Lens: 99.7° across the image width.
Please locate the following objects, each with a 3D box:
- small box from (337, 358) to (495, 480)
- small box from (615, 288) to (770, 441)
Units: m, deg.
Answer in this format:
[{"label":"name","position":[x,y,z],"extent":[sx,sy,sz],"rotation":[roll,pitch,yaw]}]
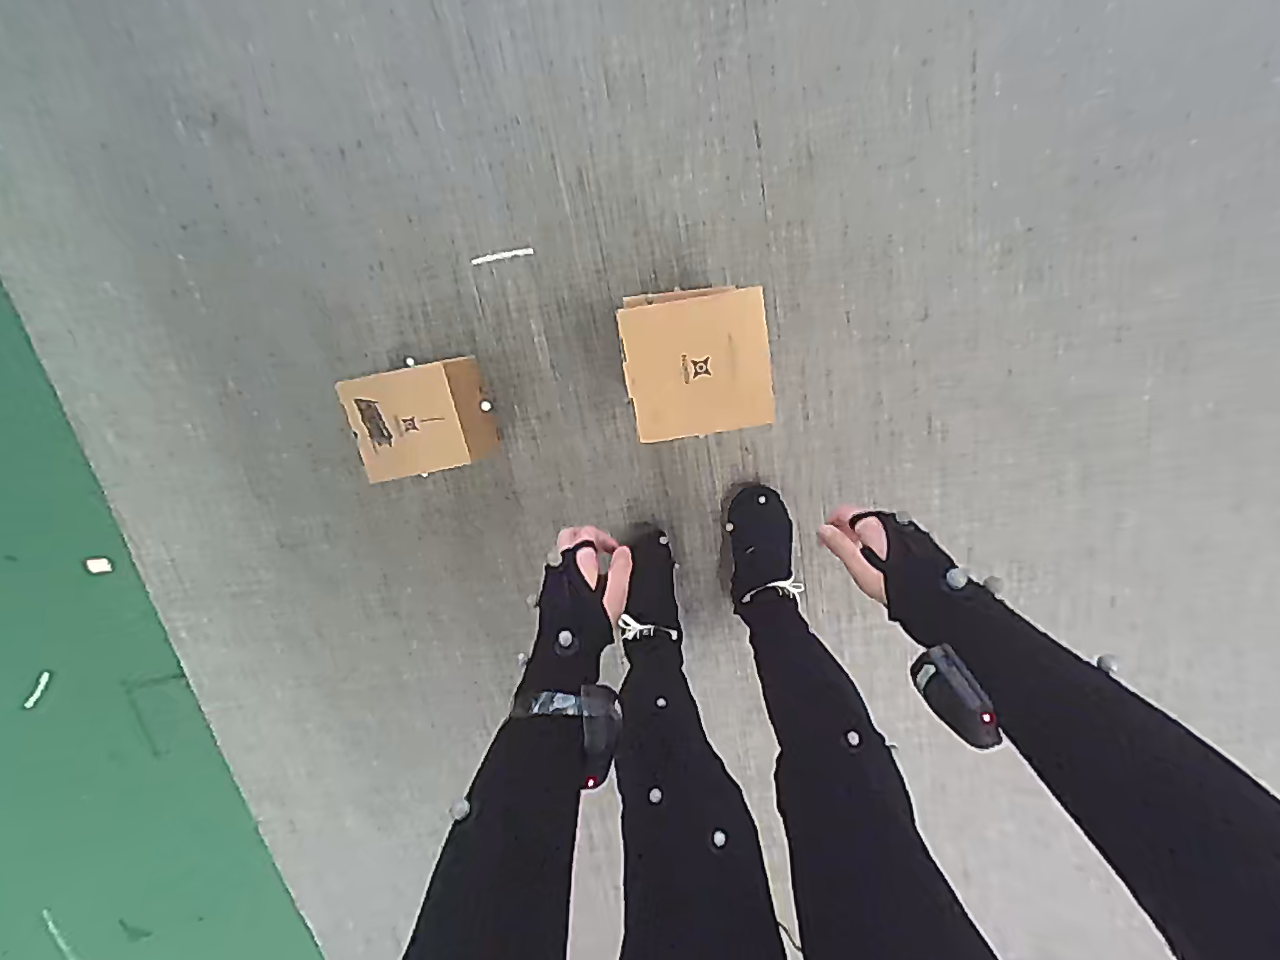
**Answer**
[{"label":"small box","position":[-0.368,-0.110,0.923],"extent":[0.179,0.176,0.168],"rotation":[-11,105,2]},{"label":"small box","position":[0.067,-0.158,0.736],"extent":[0.179,0.176,0.168],"rotation":[-9,106,2]}]
